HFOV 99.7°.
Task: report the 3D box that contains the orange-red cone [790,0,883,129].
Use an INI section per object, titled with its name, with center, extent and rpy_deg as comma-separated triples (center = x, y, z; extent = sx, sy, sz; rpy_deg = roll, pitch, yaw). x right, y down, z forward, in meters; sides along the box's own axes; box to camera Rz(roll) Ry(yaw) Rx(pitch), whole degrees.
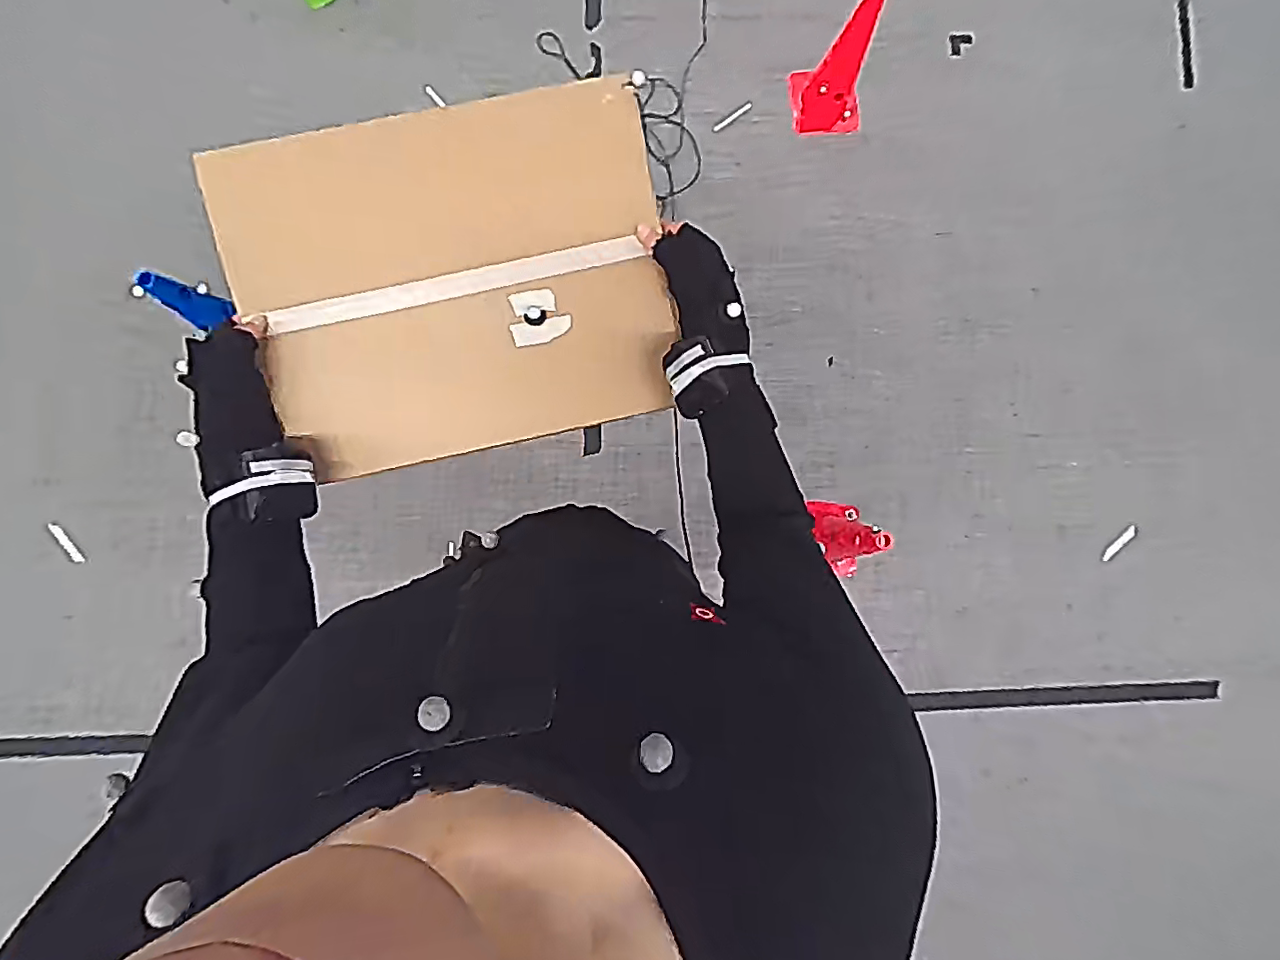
[orange-red cone]
center = 0.557, -1.158, 1.442
extent = 0.198, 0.360, 0.199
rpy_deg = -4, 84, -3

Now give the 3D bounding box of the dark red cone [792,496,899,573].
[dark red cone]
center = 0.518, 0.136, 1.310
extent = 0.201, 0.394, 0.202
rpy_deg = 4, 85, -1

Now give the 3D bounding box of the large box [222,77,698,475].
[large box]
center = -0.176, -0.209, 0.671
extent = 0.408, 0.320, 0.320
rpy_deg = -12, 98, -3

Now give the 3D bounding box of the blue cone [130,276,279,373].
[blue cone]
center = -1.062, -0.404, 1.336
extent = 0.192, 0.380, 0.193
rpy_deg = 2, 85, -1

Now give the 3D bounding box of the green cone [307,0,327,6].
[green cone]
center = -0.935, -1.526, 1.415
extent = 0.202, 0.368, 0.200
rpy_deg = -39, 87, -3
